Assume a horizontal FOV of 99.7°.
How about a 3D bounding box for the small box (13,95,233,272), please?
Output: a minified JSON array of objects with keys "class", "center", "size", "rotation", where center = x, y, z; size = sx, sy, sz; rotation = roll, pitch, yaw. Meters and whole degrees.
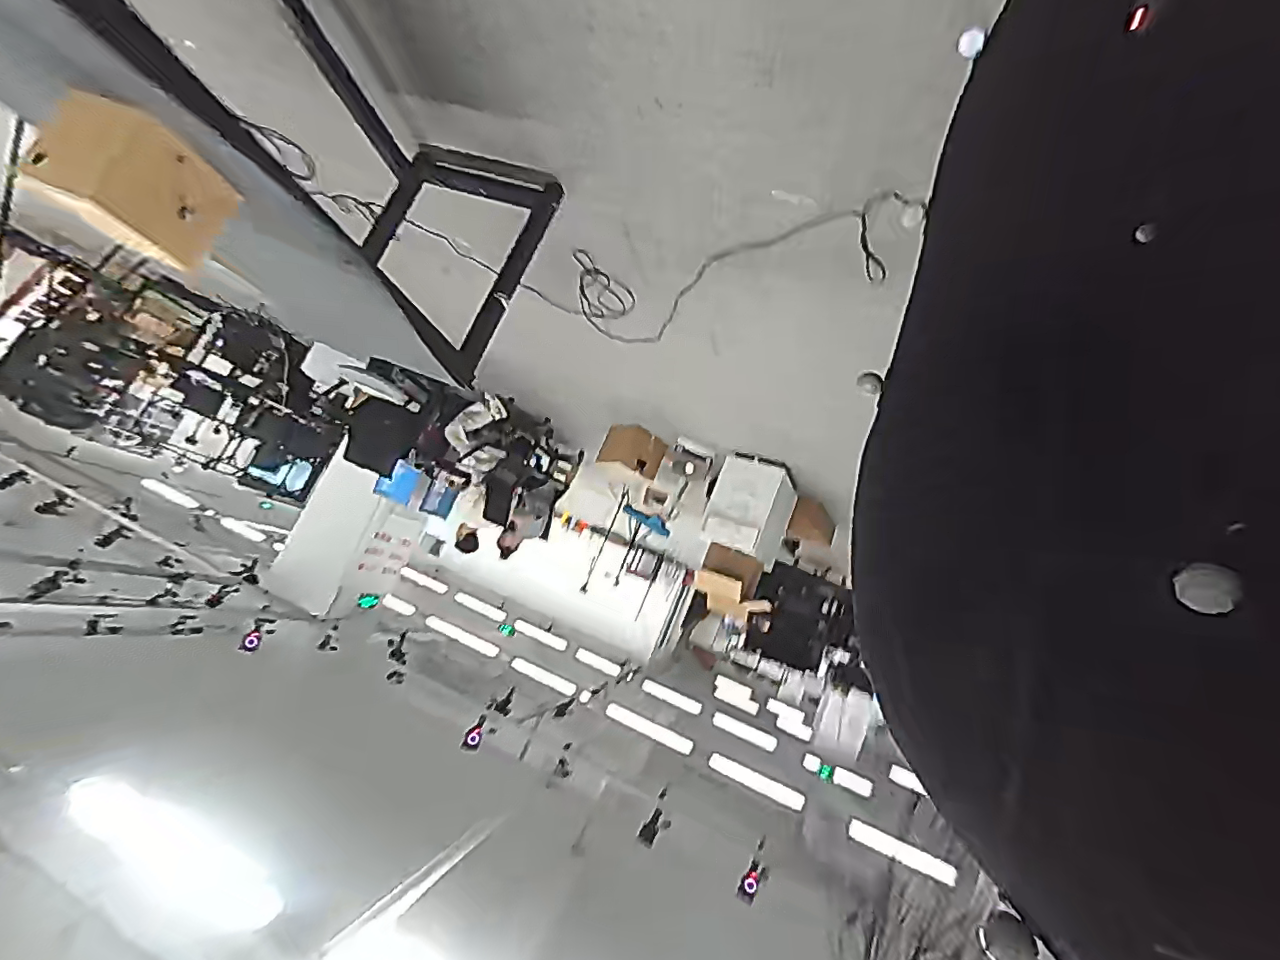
[{"class":"small box","center":[-0.811,-0.475,0.872],"size":[0.179,0.176,0.168],"rotation":[23,169,13]}]
